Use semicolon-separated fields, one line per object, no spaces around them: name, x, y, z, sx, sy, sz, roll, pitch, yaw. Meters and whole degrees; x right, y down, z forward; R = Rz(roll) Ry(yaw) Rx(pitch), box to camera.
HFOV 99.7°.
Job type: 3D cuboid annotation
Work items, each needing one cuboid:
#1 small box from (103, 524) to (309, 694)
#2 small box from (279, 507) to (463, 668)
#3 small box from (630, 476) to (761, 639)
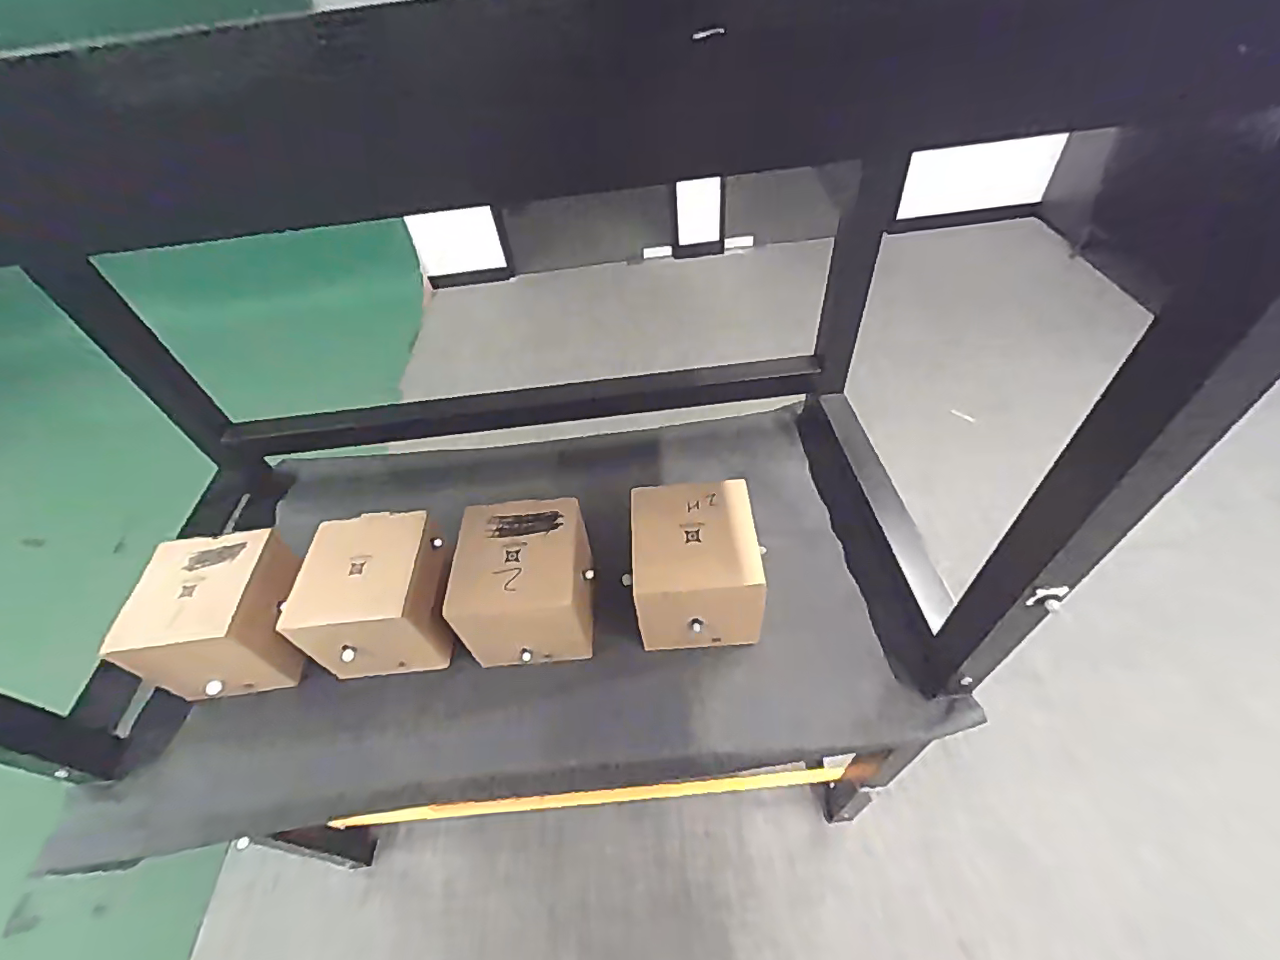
small box;-0.602;0.192;0.799;0.168;0.176;0.179;-8;48;0
small box;-0.376;0.165;0.799;0.168;0.176;0.179;-6;47;1
small box;0.076;0.118;0.779;0.168;0.176;0.179;-4;47;3
